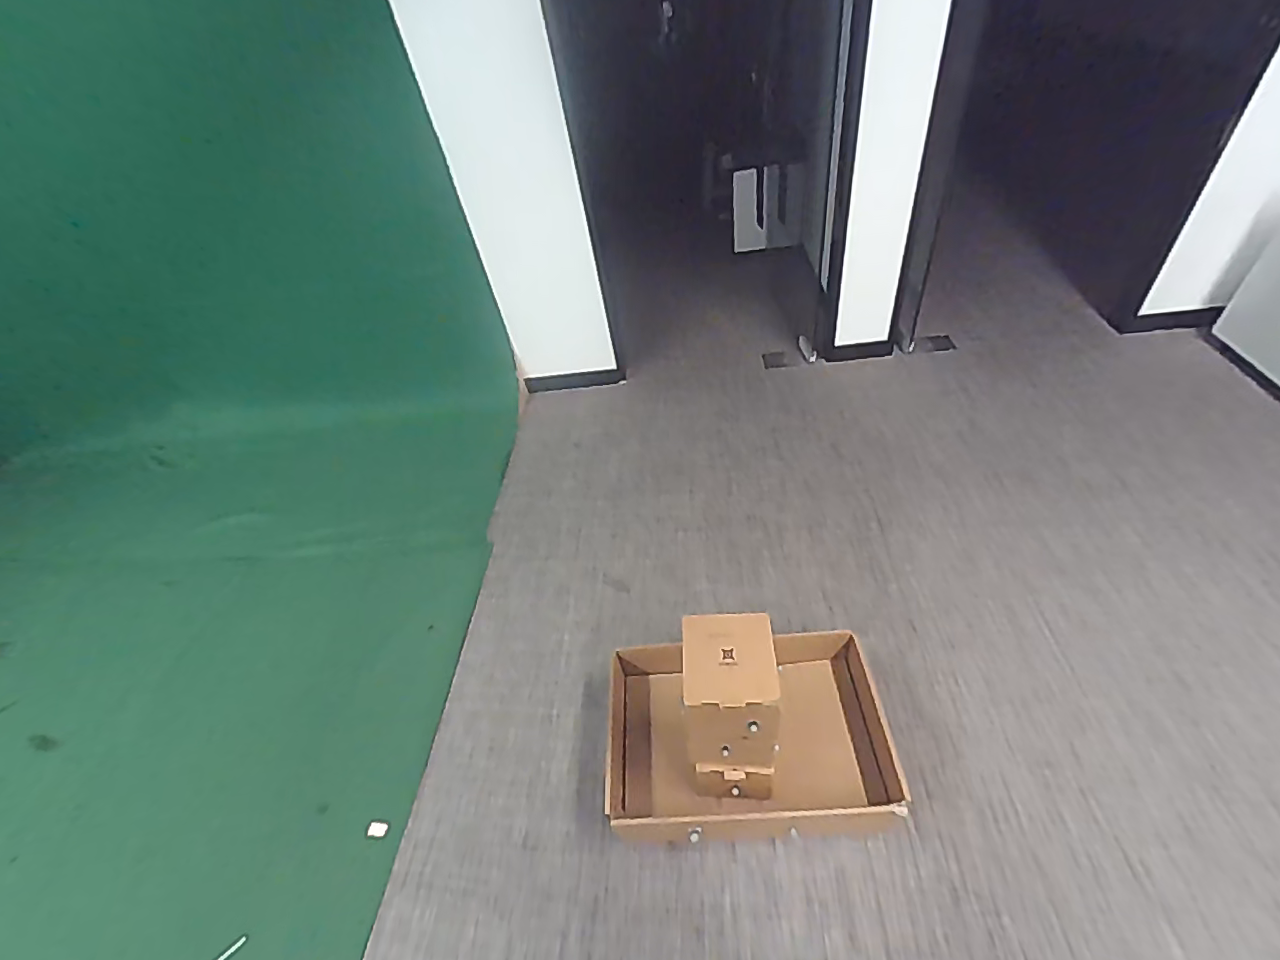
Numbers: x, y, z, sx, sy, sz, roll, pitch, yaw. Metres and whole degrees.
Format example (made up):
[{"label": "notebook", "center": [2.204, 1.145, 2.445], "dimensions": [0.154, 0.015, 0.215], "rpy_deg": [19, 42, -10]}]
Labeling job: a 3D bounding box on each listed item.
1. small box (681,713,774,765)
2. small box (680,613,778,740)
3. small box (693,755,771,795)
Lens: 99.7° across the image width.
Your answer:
[{"label": "small box", "center": [0.187, 0.481, 1.137], "dimensions": [0.179, 0.176, 0.168], "rpy_deg": [0, 44, 12]}, {"label": "small box", "center": [0.165, 0.372, 1.018], "dimensions": [0.168, 0.176, 0.179], "rpy_deg": [-2, 42, 7]}, {"label": "small box", "center": [0.212, 0.605, 1.242], "dimensions": [0.168, 0.176, 0.179], "rpy_deg": [-1, 45, 9]}]
